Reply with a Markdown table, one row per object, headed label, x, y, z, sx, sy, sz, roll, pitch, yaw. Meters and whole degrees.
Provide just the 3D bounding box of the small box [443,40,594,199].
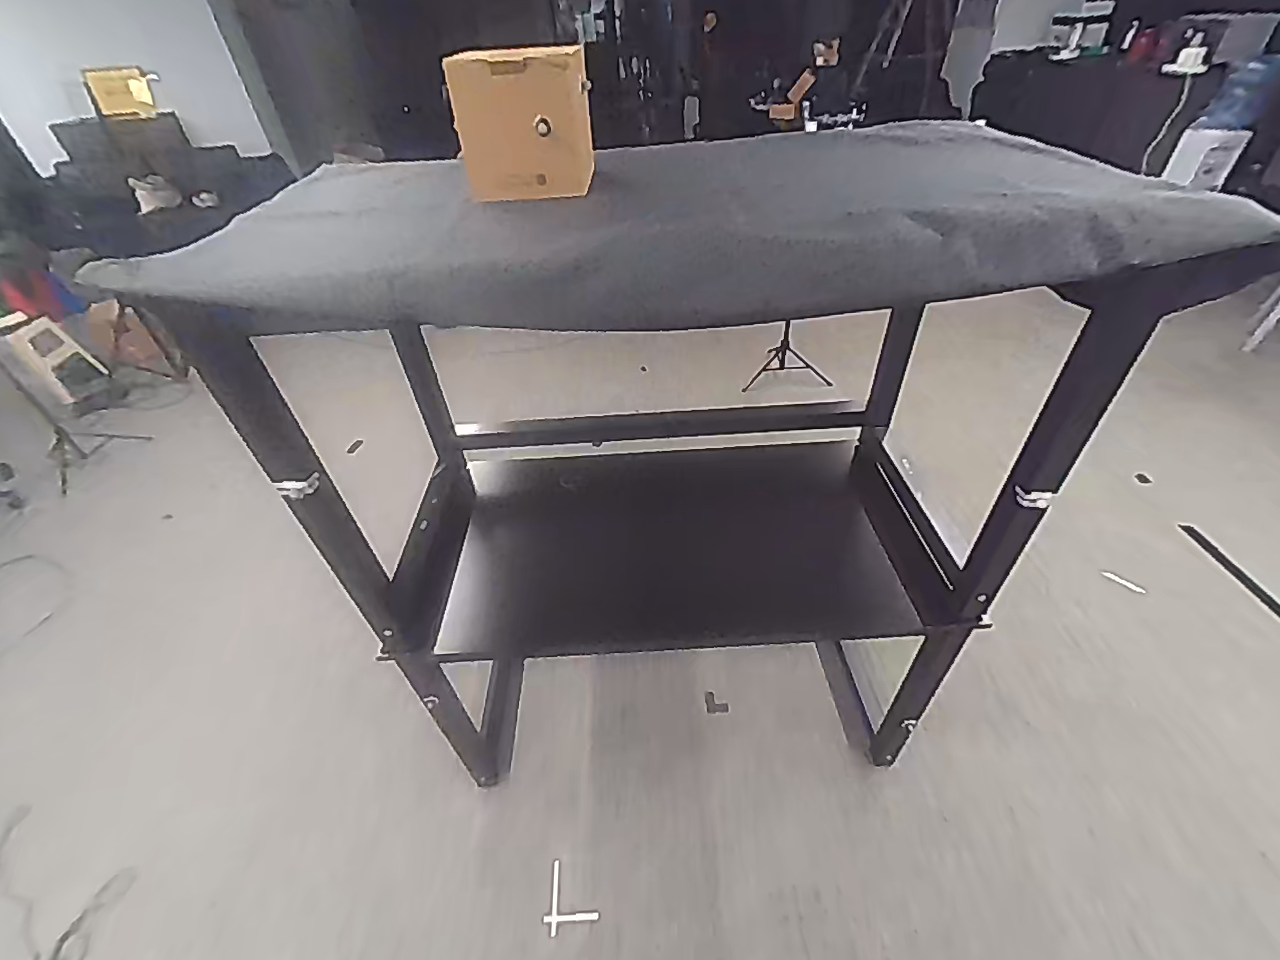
| label | x | y | z | sx | sy | sz | roll | pitch | yaw |
| --- | --- | --- | --- | --- | --- | --- | --- | --- | --- |
| small box | -0.160 | -0.517 | 0.782 | 0.168 | 0.176 | 0.179 | -1 | 42 | 2 |
